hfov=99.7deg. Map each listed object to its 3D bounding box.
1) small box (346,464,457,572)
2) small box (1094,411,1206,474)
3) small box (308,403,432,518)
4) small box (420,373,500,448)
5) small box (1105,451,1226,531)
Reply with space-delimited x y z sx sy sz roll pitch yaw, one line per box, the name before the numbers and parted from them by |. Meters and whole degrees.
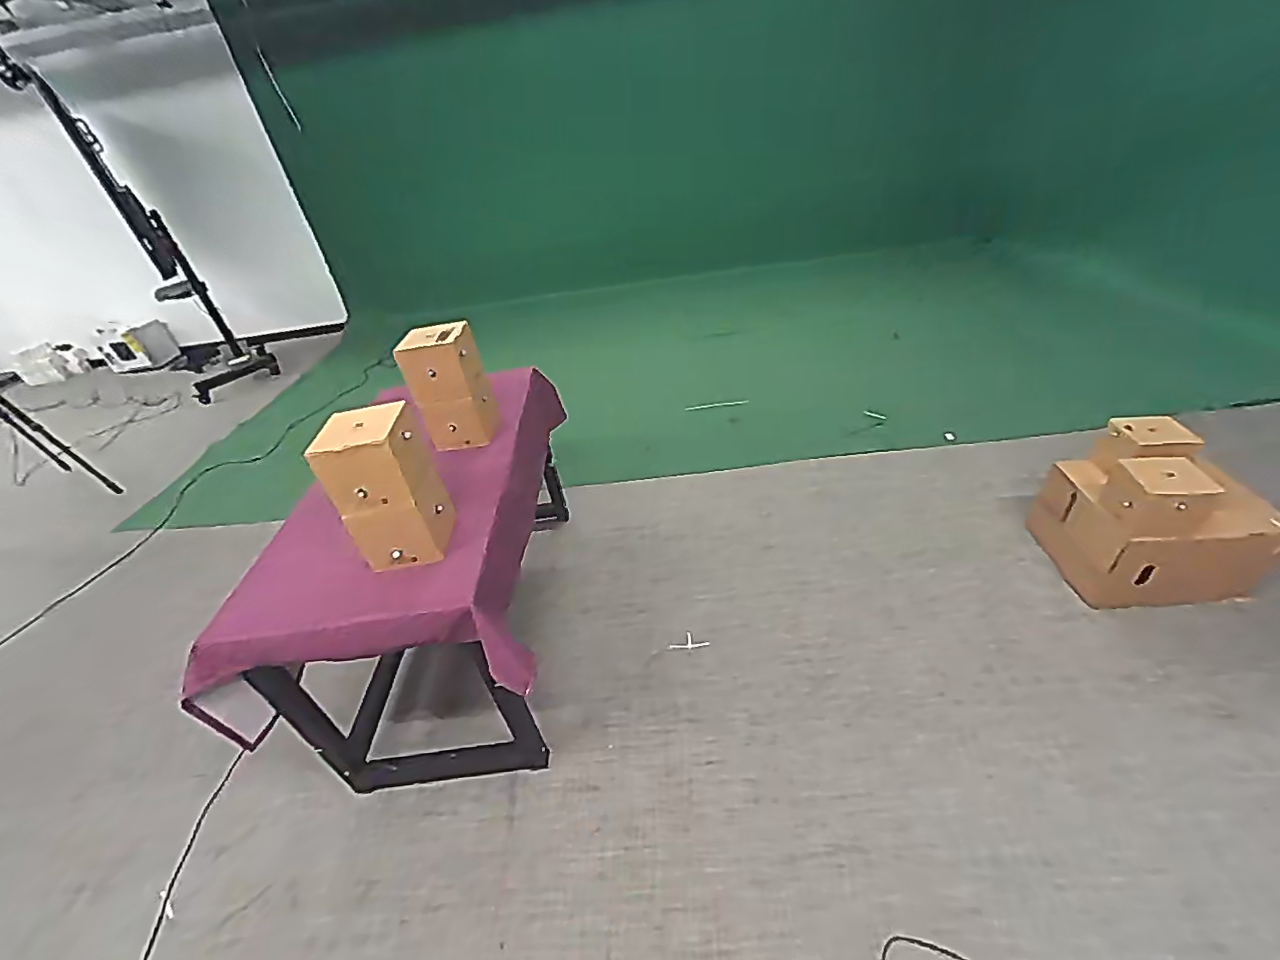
small box | -0.547 0.089 1.270 0.168 0.176 0.179 -10 36 1
small box | 1.606 -0.106 1.718 0.179 0.176 0.168 -1 35 9
small box | -0.573 -0.044 1.179 0.168 0.176 0.179 -11 36 0
small box | -0.549 -0.209 1.680 0.168 0.176 0.179 -6 36 6
small box | 1.487 0.035 1.551 0.179 0.176 0.168 -1 38 10
